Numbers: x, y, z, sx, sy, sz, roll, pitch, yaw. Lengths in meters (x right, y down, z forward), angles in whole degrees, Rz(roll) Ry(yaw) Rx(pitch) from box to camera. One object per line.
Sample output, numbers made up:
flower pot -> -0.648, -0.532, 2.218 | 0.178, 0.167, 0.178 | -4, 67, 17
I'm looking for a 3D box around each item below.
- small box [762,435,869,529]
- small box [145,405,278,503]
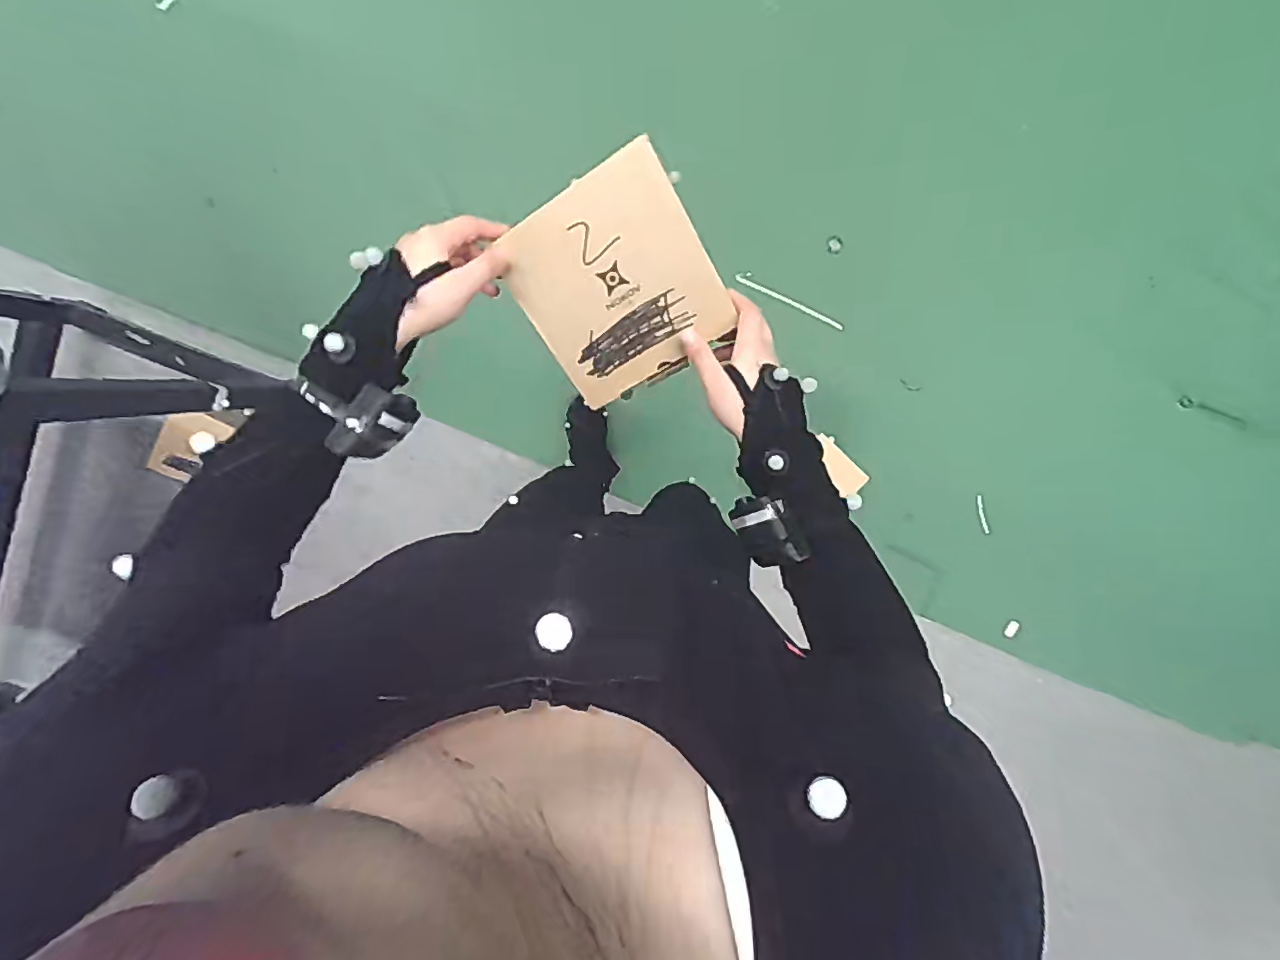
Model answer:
small box -> 0.446, -0.003, 1.407 | 0.179, 0.176, 0.168 | 41, 96, -9
small box -> -1.032, -0.069, 1.320 | 0.168, 0.176, 0.179 | 27, 96, -7
